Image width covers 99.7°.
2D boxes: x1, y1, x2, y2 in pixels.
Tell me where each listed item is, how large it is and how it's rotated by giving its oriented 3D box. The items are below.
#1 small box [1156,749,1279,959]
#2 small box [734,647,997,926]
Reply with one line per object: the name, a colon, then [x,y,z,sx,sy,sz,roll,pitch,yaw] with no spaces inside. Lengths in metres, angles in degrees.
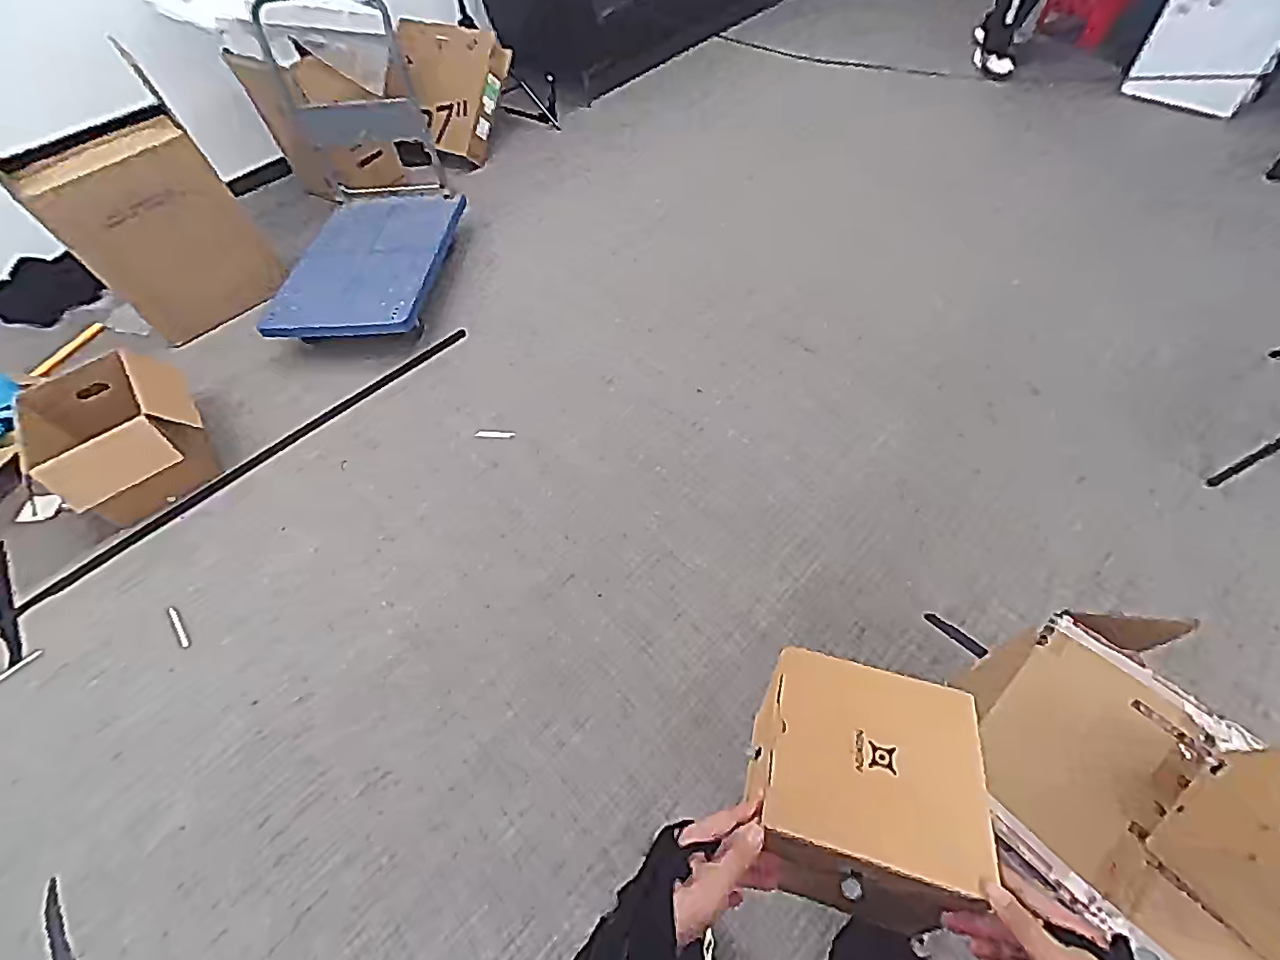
small box: [0.714,0.406,0.561,0.168,0.176,0.179,-36,62,-14]
small box: [0.195,0.291,0.513,0.179,0.176,0.168,11,45,12]
